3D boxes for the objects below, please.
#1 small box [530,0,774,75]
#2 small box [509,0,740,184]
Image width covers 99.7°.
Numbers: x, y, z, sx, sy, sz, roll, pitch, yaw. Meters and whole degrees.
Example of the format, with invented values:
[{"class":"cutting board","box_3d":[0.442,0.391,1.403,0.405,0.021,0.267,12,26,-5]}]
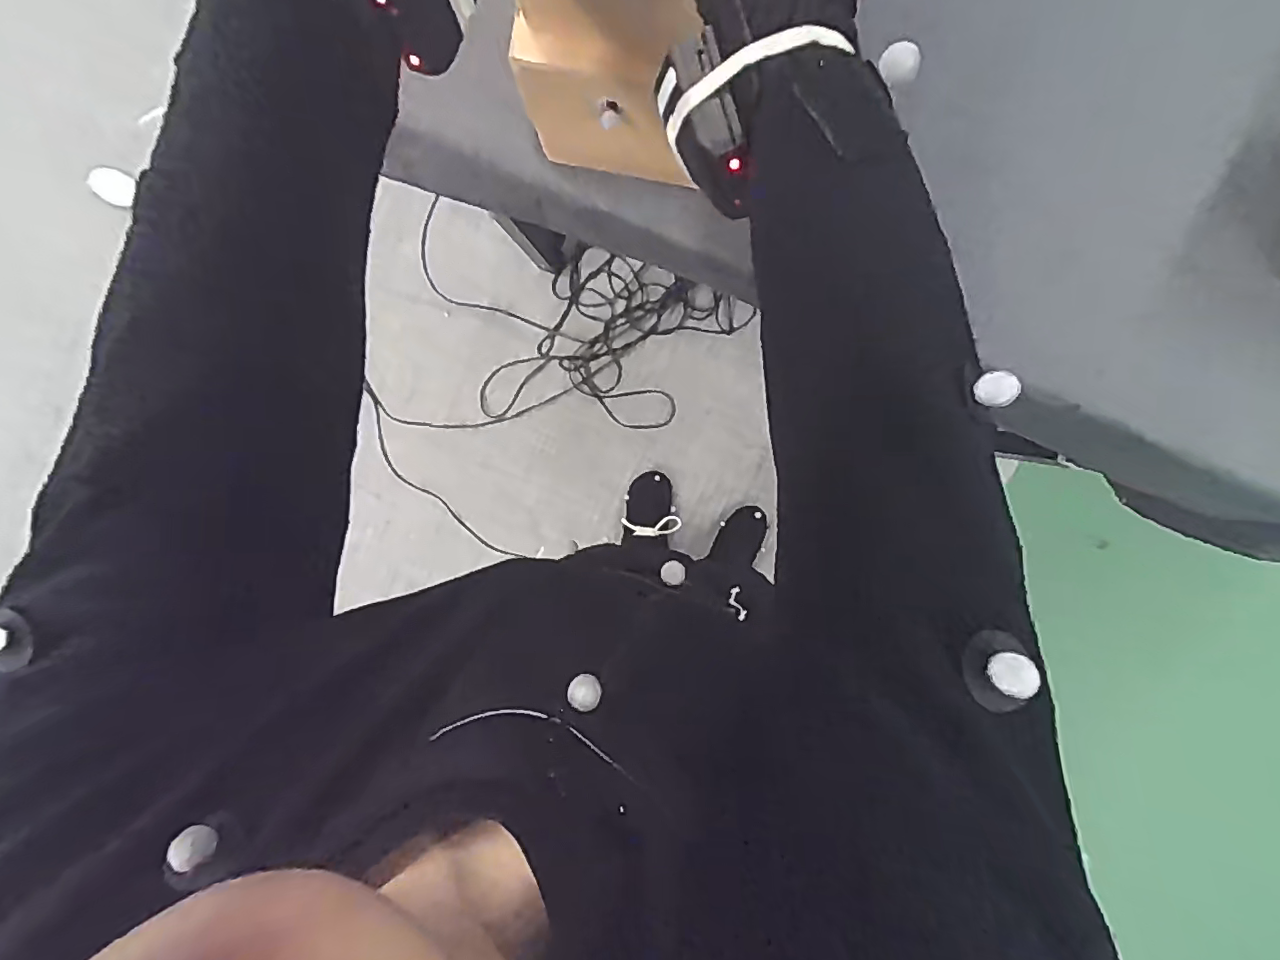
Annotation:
[{"class":"small box","box_3d":[0.017,-0.387,0.319,0.179,0.176,0.168,16,99,-1]},{"class":"small box","box_3d":[0.003,-0.391,0.480,0.179,0.176,0.168,12,97,1]}]
